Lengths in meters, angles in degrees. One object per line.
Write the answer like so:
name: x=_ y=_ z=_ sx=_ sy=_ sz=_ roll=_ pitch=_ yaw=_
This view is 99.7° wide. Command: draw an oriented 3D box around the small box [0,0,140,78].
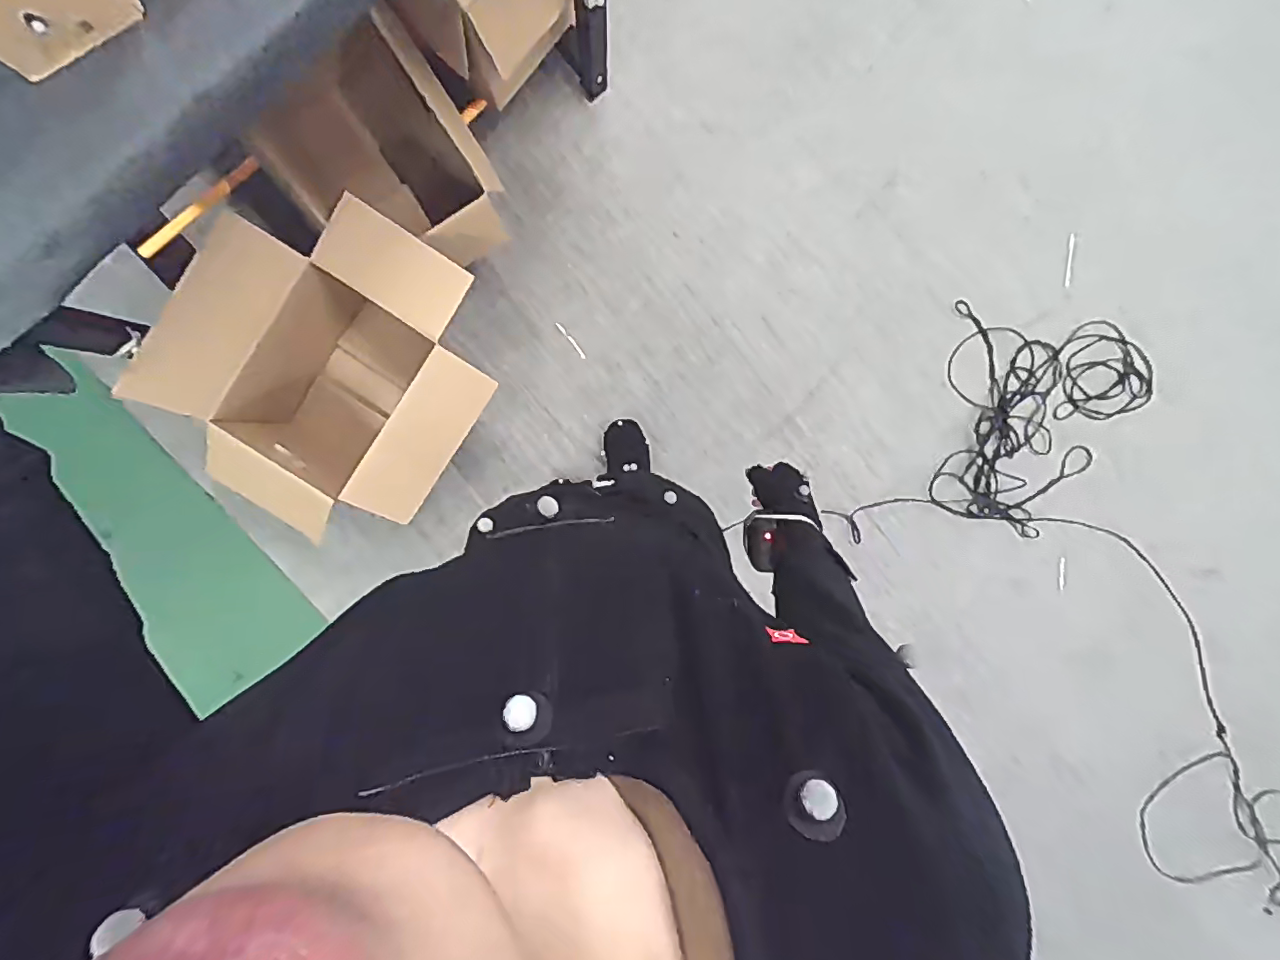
small box: x=-0.726 y=-0.603 z=0.588 sx=0.168 sy=0.176 sz=0.179 roll=-32 pitch=95 yaw=0
